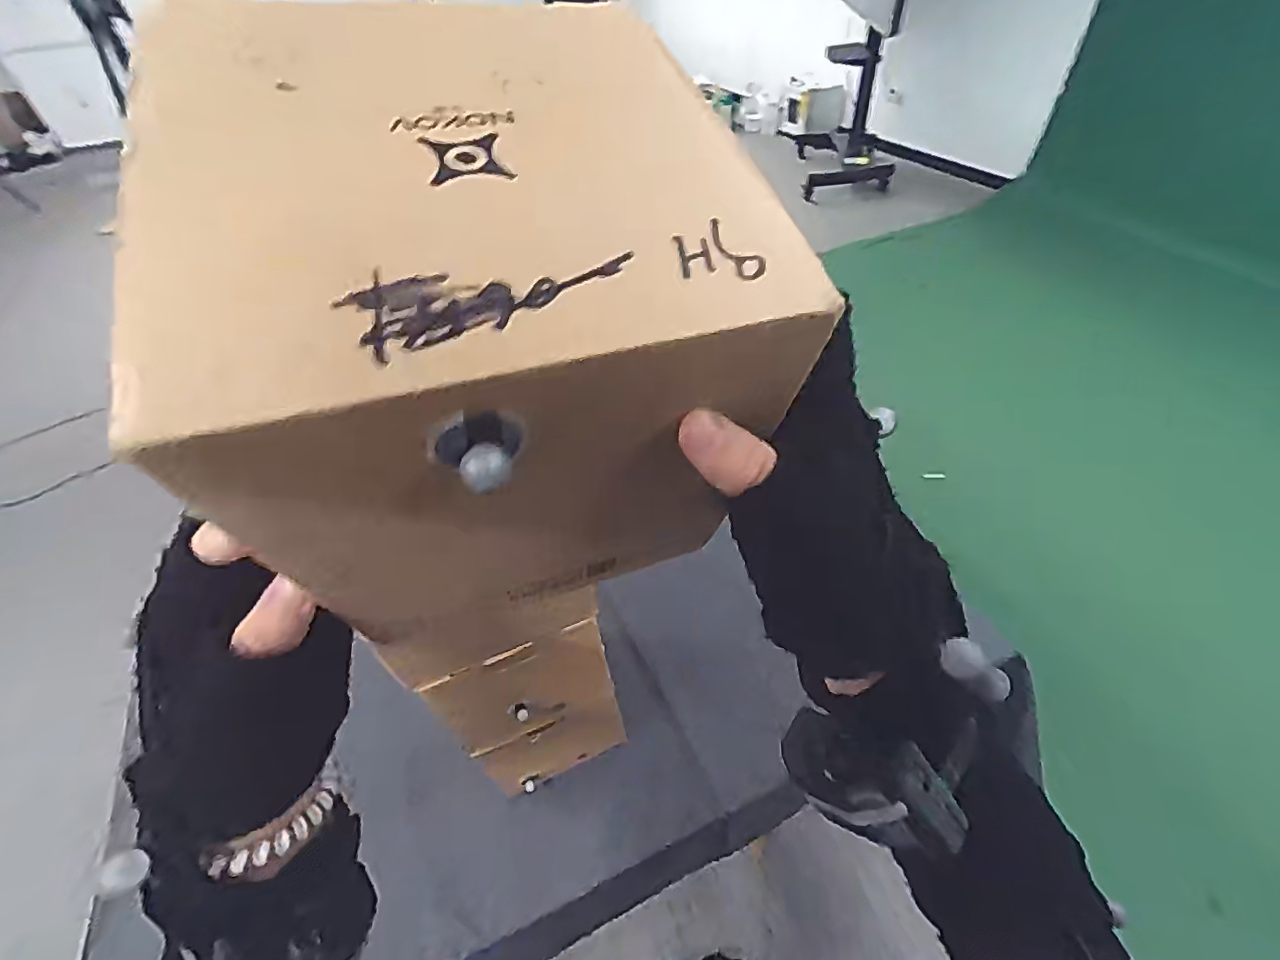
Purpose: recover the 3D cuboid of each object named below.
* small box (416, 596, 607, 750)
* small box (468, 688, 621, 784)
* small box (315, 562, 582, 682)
[{"bbox_3d":[-0.147,0.159,0.599,0.168,0.176,0.179,-21,48,-14],"label":"small box"},{"bbox_3d":[-0.135,0.271,0.715,0.168,0.176,0.179,-21,47,-14],"label":"small box"},{"bbox_3d":[-0.156,0.045,0.479,0.179,0.176,0.168,-20,47,-13],"label":"small box"}]
